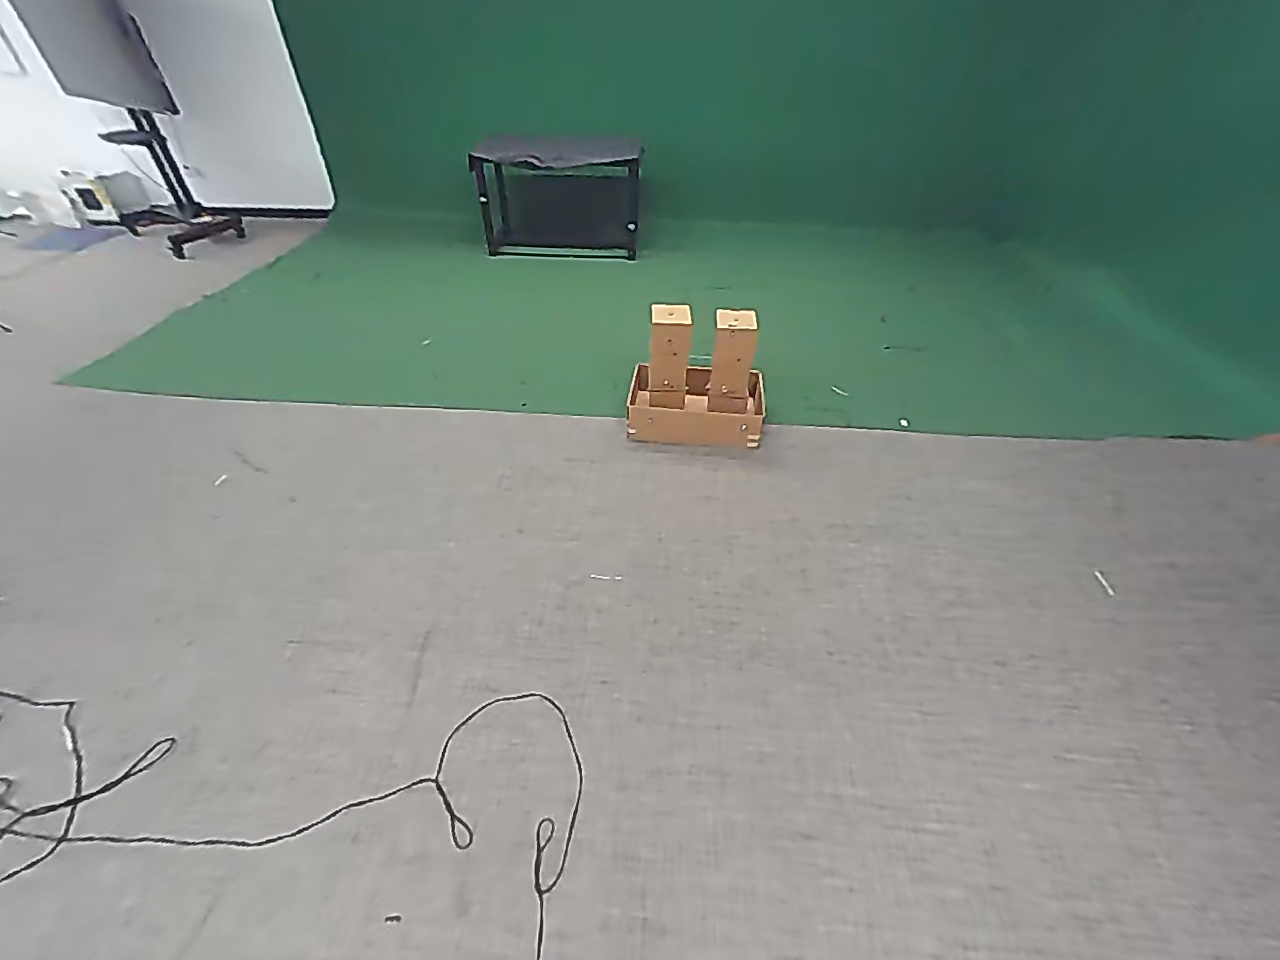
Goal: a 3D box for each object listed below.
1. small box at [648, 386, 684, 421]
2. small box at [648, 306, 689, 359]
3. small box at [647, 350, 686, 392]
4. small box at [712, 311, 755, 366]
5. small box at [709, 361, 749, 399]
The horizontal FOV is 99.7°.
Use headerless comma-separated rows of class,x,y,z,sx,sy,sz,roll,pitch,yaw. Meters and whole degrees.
small box,0.123,-0.404,2.581,0.168,0.176,0.179,2,42,1
small box,0.123,-0.640,2.351,0.168,0.176,0.179,2,42,-1
small box,0.118,-0.519,2.463,0.168,0.176,0.179,1,43,-1
small box,0.398,-0.607,2.318,0.168,0.176,0.179,3,41,4
small box,0.399,-0.484,2.428,0.168,0.176,0.179,4,43,6
